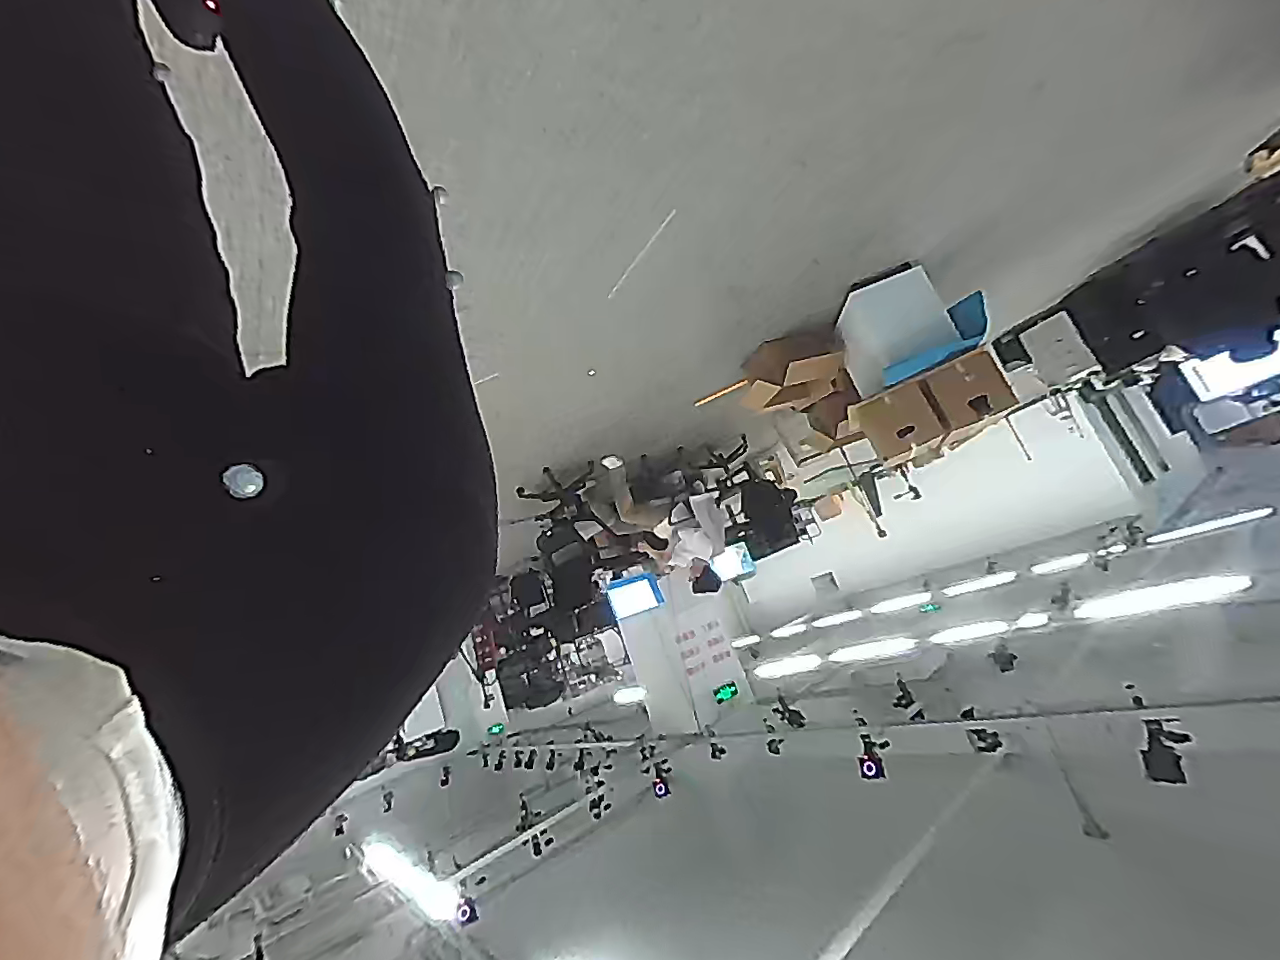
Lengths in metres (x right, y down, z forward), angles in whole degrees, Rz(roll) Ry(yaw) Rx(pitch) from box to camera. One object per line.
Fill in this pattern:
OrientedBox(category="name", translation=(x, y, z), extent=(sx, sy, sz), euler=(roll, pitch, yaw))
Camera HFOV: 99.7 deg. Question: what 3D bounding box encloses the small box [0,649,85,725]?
OrientedBox(category="small box", translation=(-1.860, 0.639, 1.676), extent=(0.168, 0.176, 0.179), euler=(-10, 162, -39))
